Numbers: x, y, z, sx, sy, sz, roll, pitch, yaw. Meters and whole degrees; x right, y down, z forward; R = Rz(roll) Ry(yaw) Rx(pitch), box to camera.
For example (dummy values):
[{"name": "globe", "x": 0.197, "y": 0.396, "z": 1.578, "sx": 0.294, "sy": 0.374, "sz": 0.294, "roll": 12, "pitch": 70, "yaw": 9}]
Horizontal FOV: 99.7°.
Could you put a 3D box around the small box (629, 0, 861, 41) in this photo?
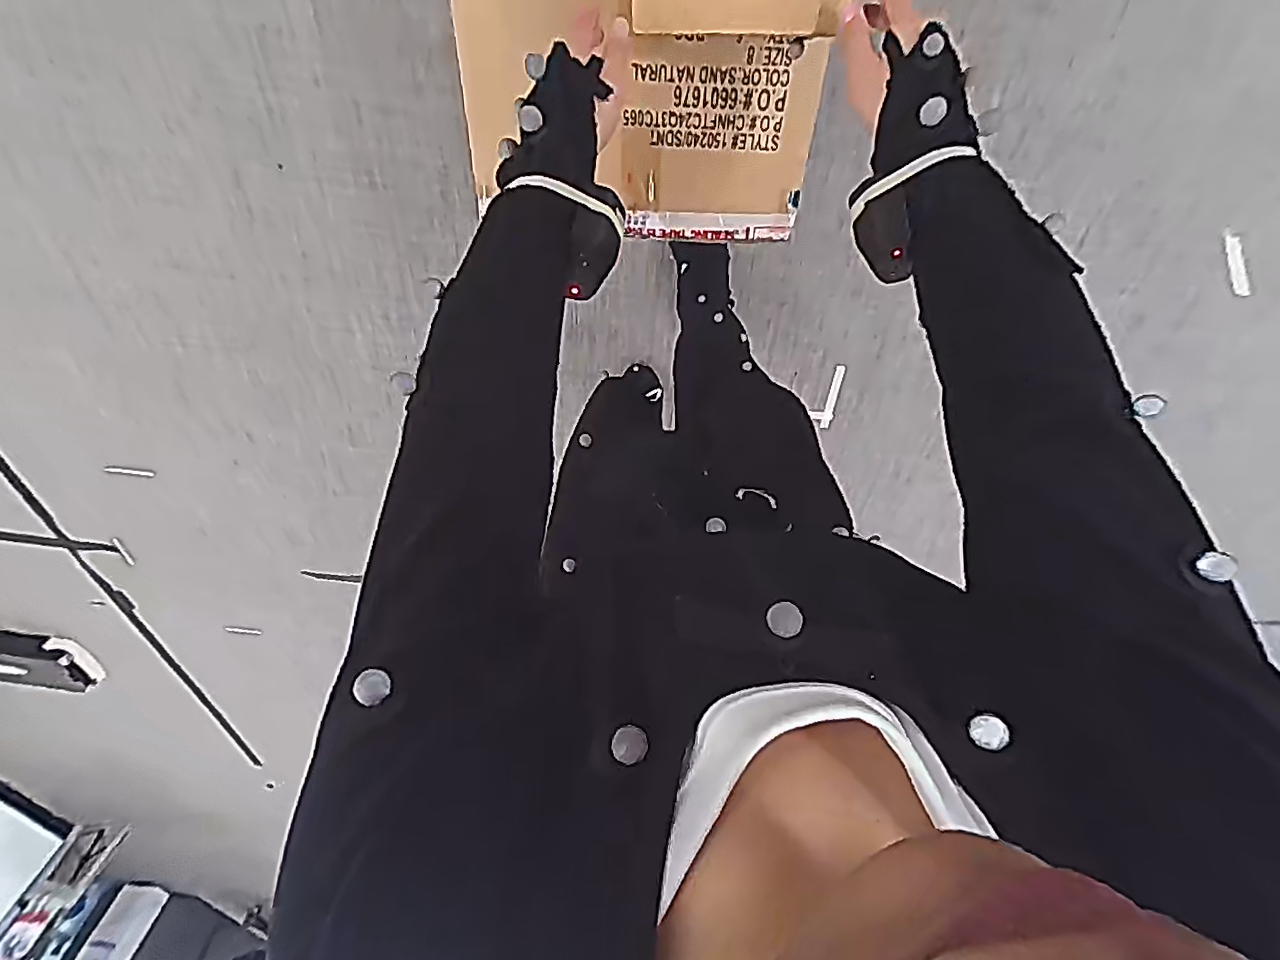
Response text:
[{"name": "small box", "x": 0.083, "y": -0.457, "z": 0.430, "sx": 0.179, "sy": 0.176, "sz": 0.168, "roll": 1, "pitch": 131, "yaw": 1}]
